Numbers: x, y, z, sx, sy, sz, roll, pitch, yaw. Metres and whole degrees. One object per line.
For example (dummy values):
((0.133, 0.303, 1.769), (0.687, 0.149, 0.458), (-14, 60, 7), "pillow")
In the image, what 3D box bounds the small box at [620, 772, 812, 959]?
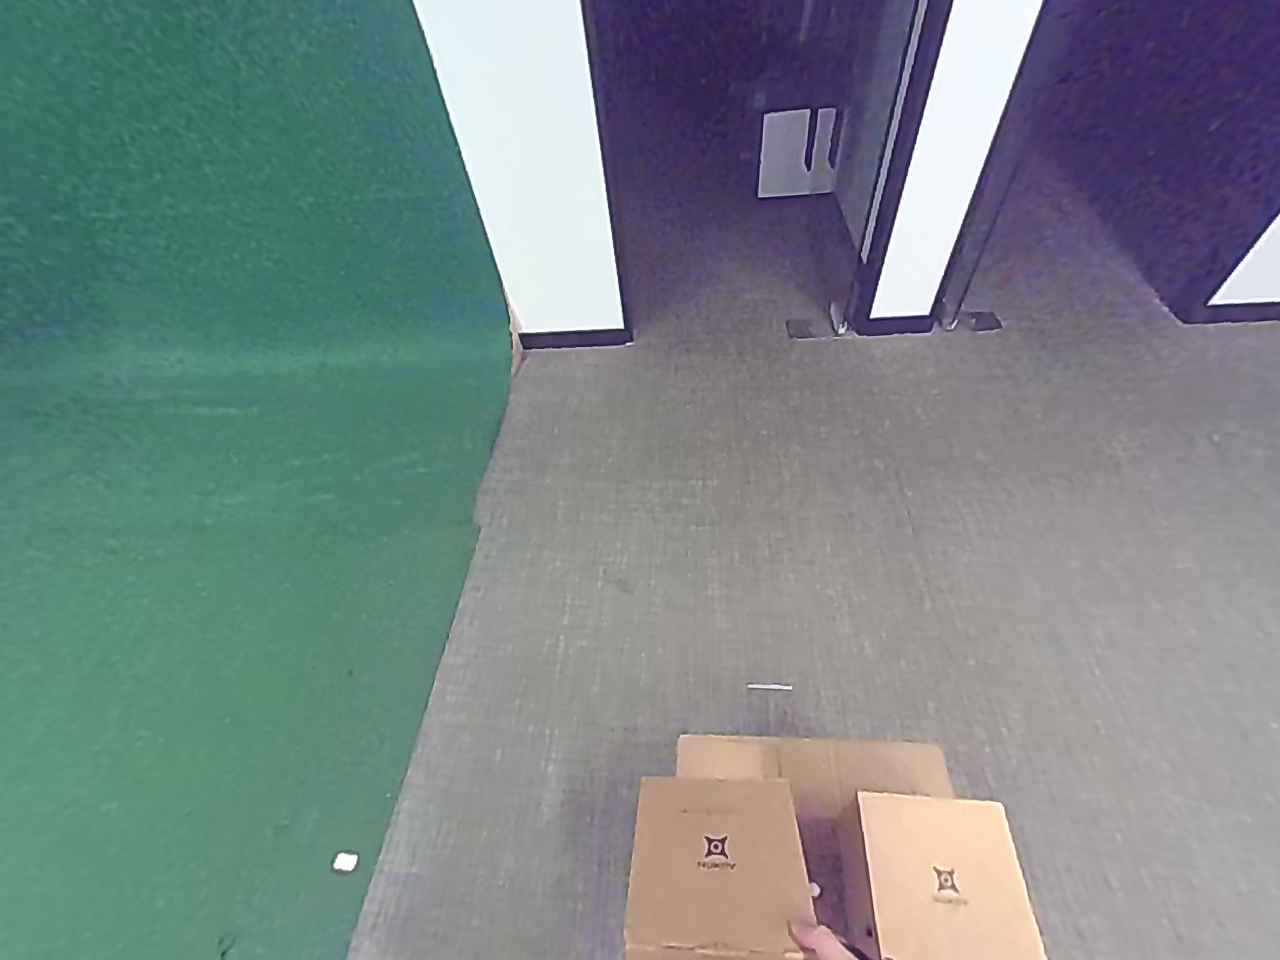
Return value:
((0.080, 0.438, 0.555), (0.168, 0.176, 0.179), (-1, 17, 8), "small box")

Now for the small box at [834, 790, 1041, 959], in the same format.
((0.342, 0.498, 0.657), (0.168, 0.176, 0.179), (1, 52, 8), "small box")
